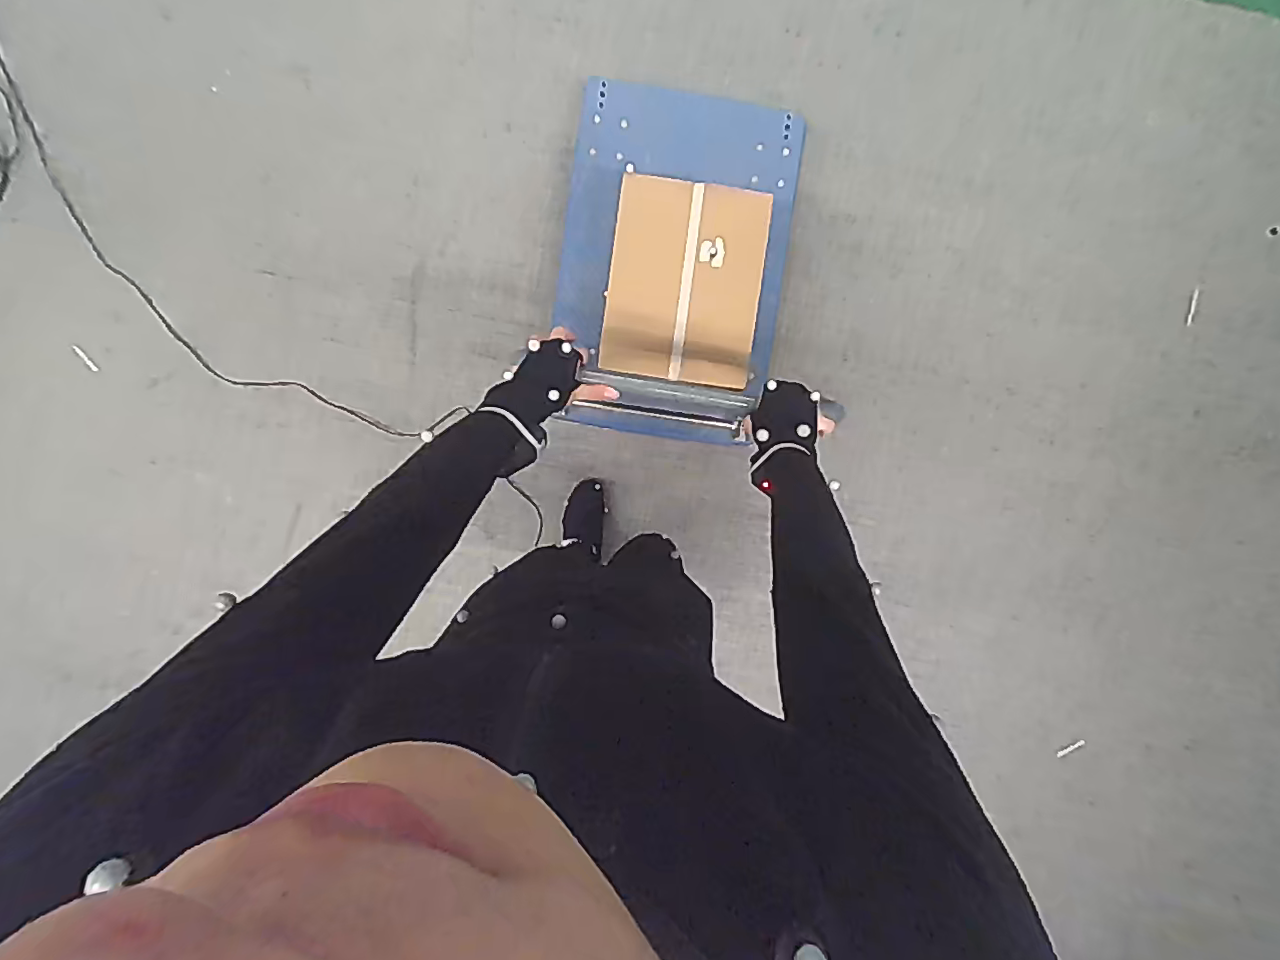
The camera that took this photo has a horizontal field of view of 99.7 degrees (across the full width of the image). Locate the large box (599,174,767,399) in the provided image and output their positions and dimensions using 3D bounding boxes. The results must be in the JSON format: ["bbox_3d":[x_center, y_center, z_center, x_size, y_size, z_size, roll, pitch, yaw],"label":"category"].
[{"bbox_3d":[0.086,-0.419,1.269,0.320,0.320,0.408,8,92,-3],"label":"large box"}]
